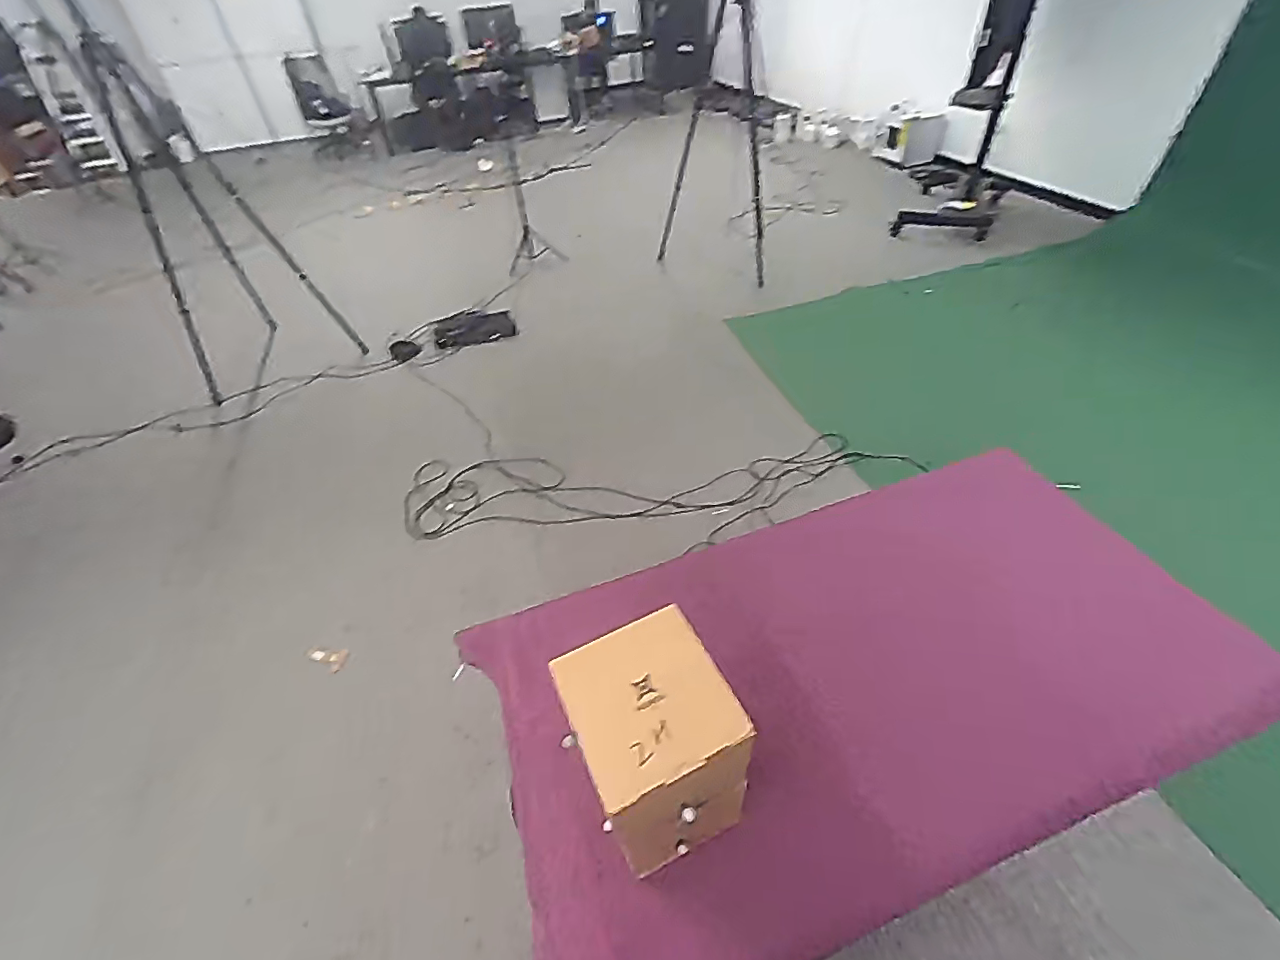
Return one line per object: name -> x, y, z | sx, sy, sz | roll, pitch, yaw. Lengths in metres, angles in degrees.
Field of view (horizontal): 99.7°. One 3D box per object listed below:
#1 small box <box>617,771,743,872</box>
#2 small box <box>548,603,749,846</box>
small box -> 0.023, 0.399, 0.752 | 0.168, 0.176, 0.179 | -21, 47, -15
small box -> 0.006, 0.284, 0.635 | 0.168, 0.176, 0.179 | -21, 47, -16
